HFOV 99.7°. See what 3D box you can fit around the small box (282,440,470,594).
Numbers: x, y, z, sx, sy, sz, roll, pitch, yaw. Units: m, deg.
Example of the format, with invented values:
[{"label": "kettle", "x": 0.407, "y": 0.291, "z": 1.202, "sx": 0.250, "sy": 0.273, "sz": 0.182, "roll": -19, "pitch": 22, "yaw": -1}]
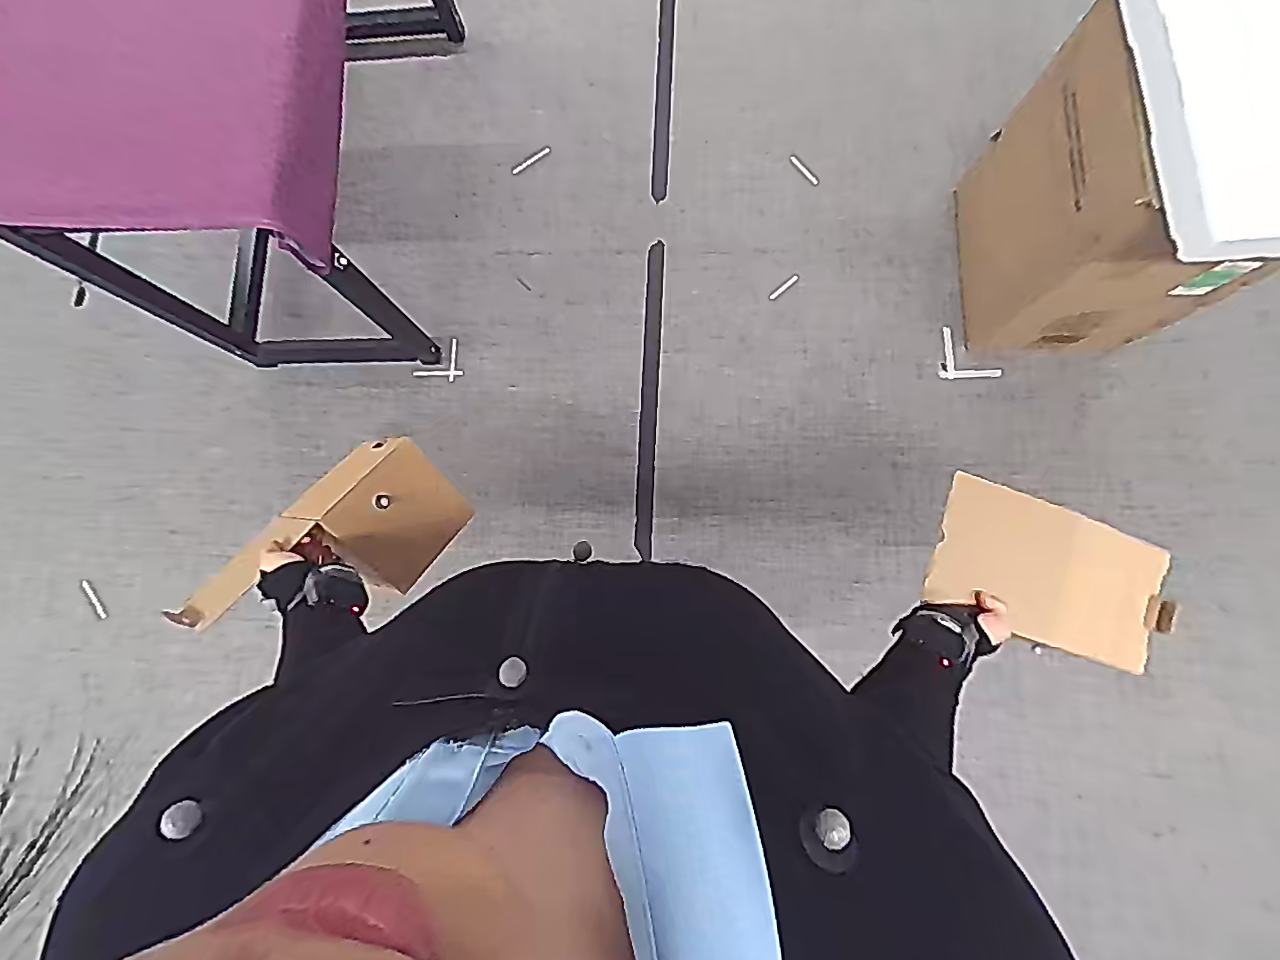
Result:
[{"label": "small box", "x": -0.408, "y": 0.059, "z": 0.858, "sx": 0.168, "sy": 0.176, "sz": 0.179, "roll": -1, "pitch": 42, "yaw": 39}]
